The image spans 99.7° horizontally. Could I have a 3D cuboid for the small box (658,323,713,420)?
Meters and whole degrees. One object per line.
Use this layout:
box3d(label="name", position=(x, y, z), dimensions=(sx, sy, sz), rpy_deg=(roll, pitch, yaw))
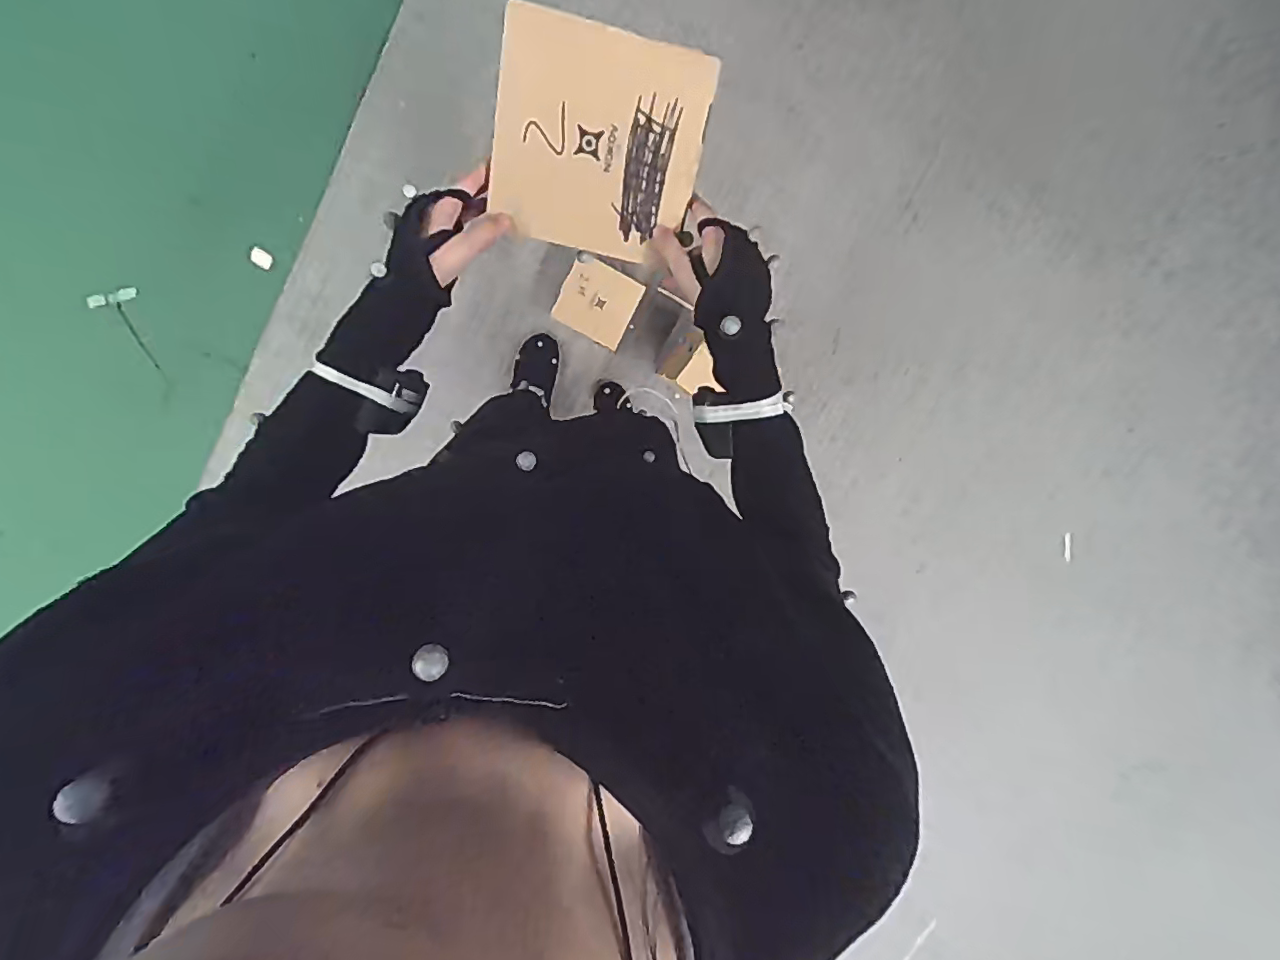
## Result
box3d(label="small box", position=(0.160, -0.278, 1.384), dimensions=(0.168, 0.176, 0.179), rpy_deg=(38, 98, -10))

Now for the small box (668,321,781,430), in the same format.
box3d(label="small box", position=(0.181, -0.233, 1.226), dimensions=(0.179, 0.176, 0.168), rpy_deg=(38, 97, -9))
